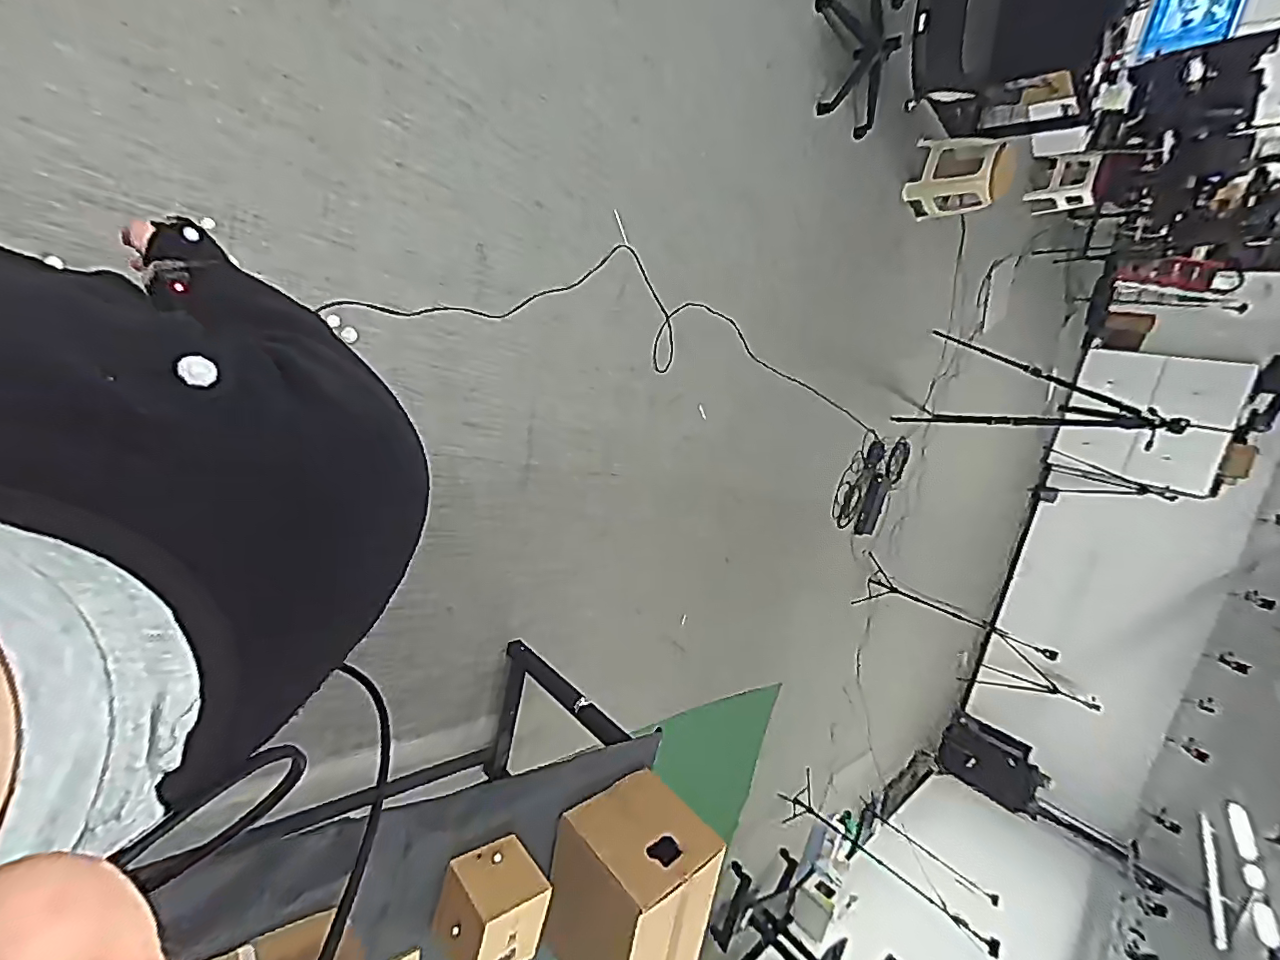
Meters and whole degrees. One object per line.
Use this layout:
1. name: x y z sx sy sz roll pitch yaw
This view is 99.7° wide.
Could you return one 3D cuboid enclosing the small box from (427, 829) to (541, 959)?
1. small box: -0.352 0.933 1.203 0.168 0.176 0.179 9 100 -48
